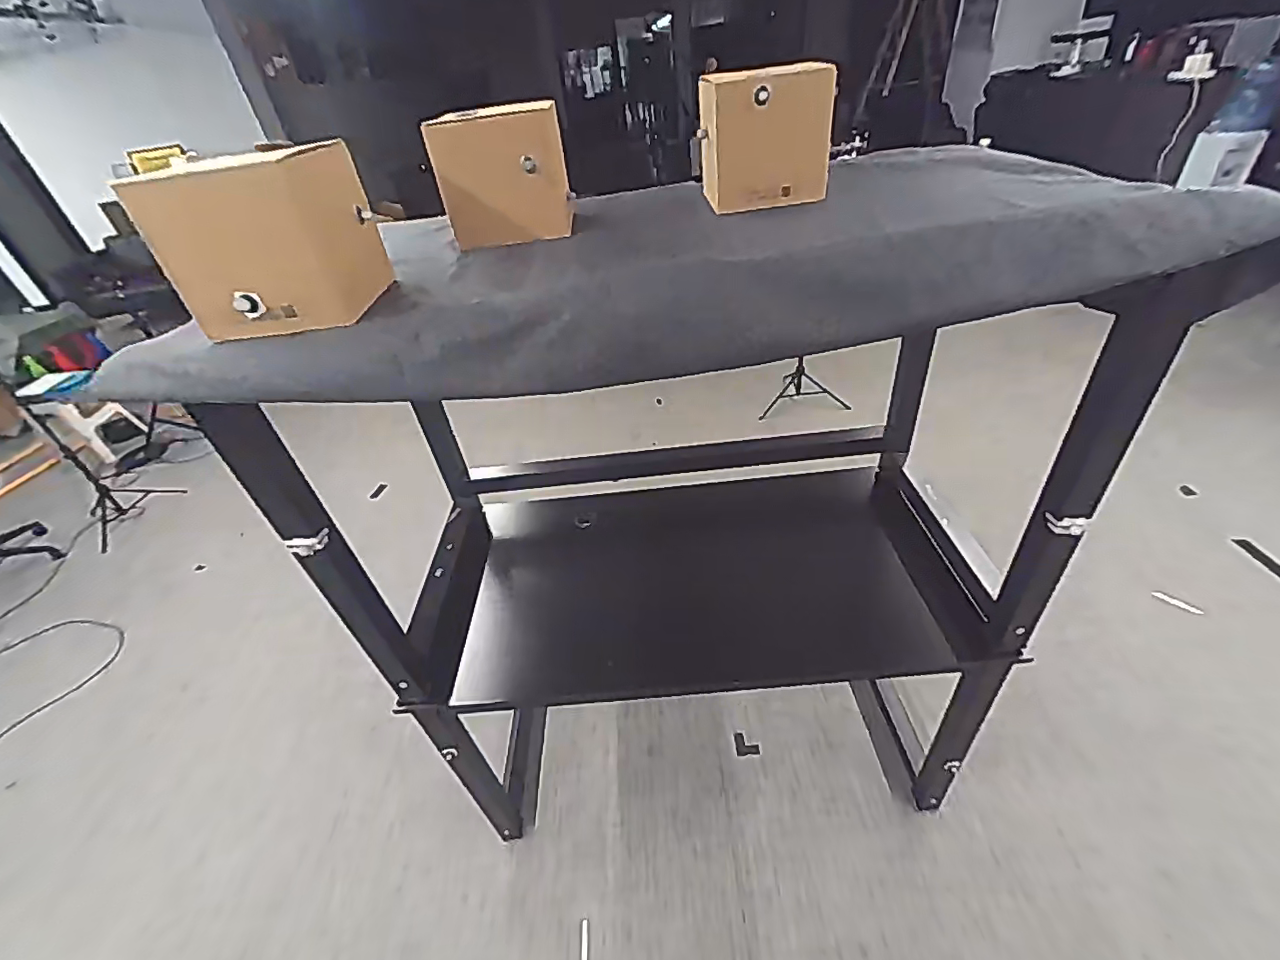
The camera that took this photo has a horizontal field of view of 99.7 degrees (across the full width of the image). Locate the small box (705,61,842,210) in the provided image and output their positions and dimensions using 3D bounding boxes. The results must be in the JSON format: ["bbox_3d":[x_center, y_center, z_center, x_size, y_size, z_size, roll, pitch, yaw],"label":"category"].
[{"bbox_3d":[0.192,-0.525,0.828,0.168,0.176,0.179,-7,37,2],"label":"small box"}]

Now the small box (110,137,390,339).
[{"bbox_3d":[-0.410,-0.276,0.614,0.168,0.176,0.179,-8,37,1],"label":"small box"}]
